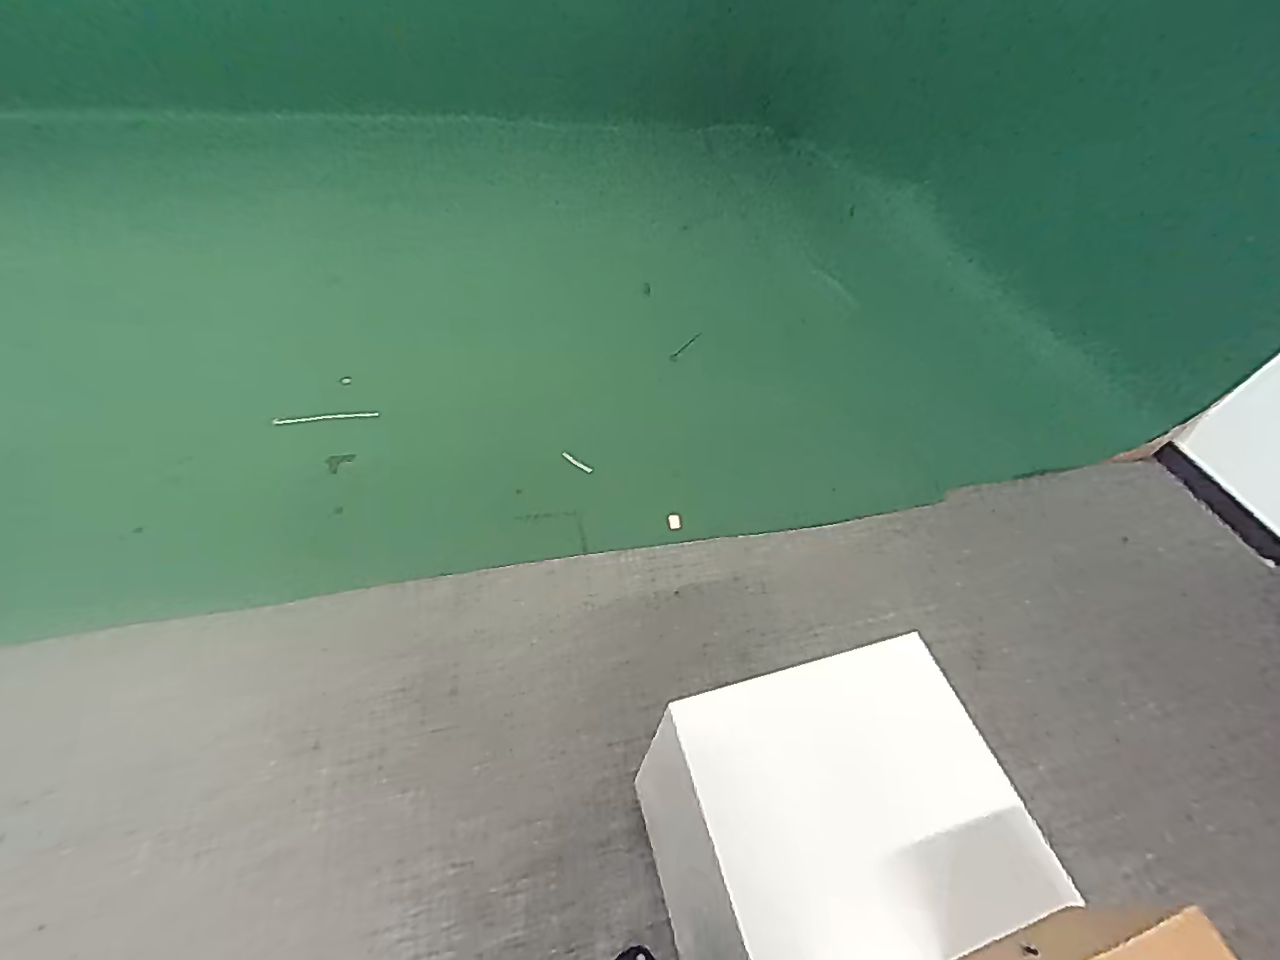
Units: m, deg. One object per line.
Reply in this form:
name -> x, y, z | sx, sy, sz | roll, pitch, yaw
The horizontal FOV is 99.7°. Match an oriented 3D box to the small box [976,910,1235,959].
small box -> 0.435, 0.512, 0.478 | 0.179, 0.176, 0.168 | -10, 54, -14
